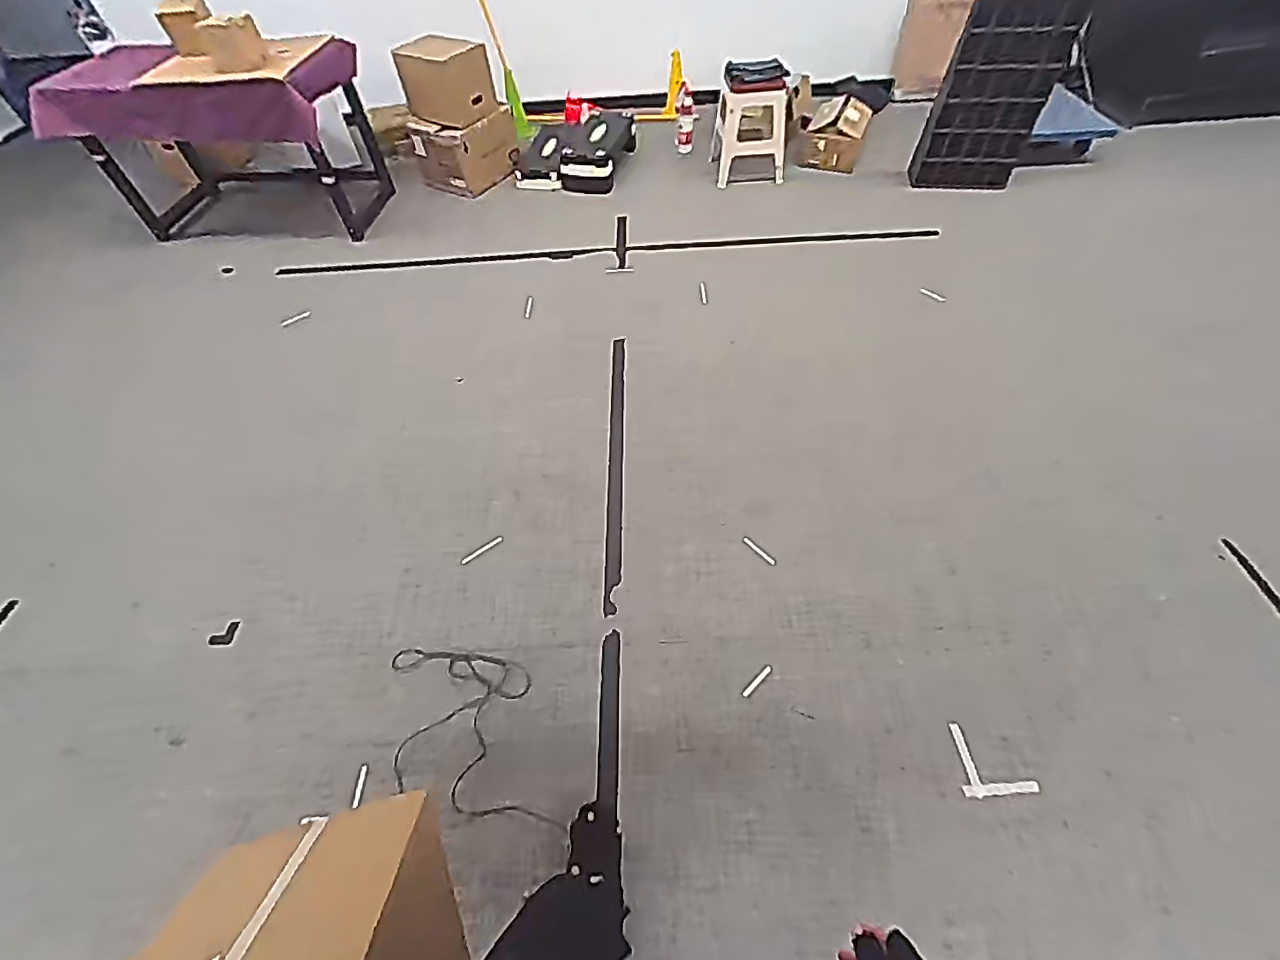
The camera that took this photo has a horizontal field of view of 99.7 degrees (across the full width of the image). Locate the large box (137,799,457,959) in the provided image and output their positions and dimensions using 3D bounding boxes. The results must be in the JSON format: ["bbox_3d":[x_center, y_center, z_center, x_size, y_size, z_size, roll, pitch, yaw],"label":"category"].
[{"bbox_3d":[-0.441,0.705,0.683,0.320,0.408,0.320,-13,93,-8],"label":"large box"}]
